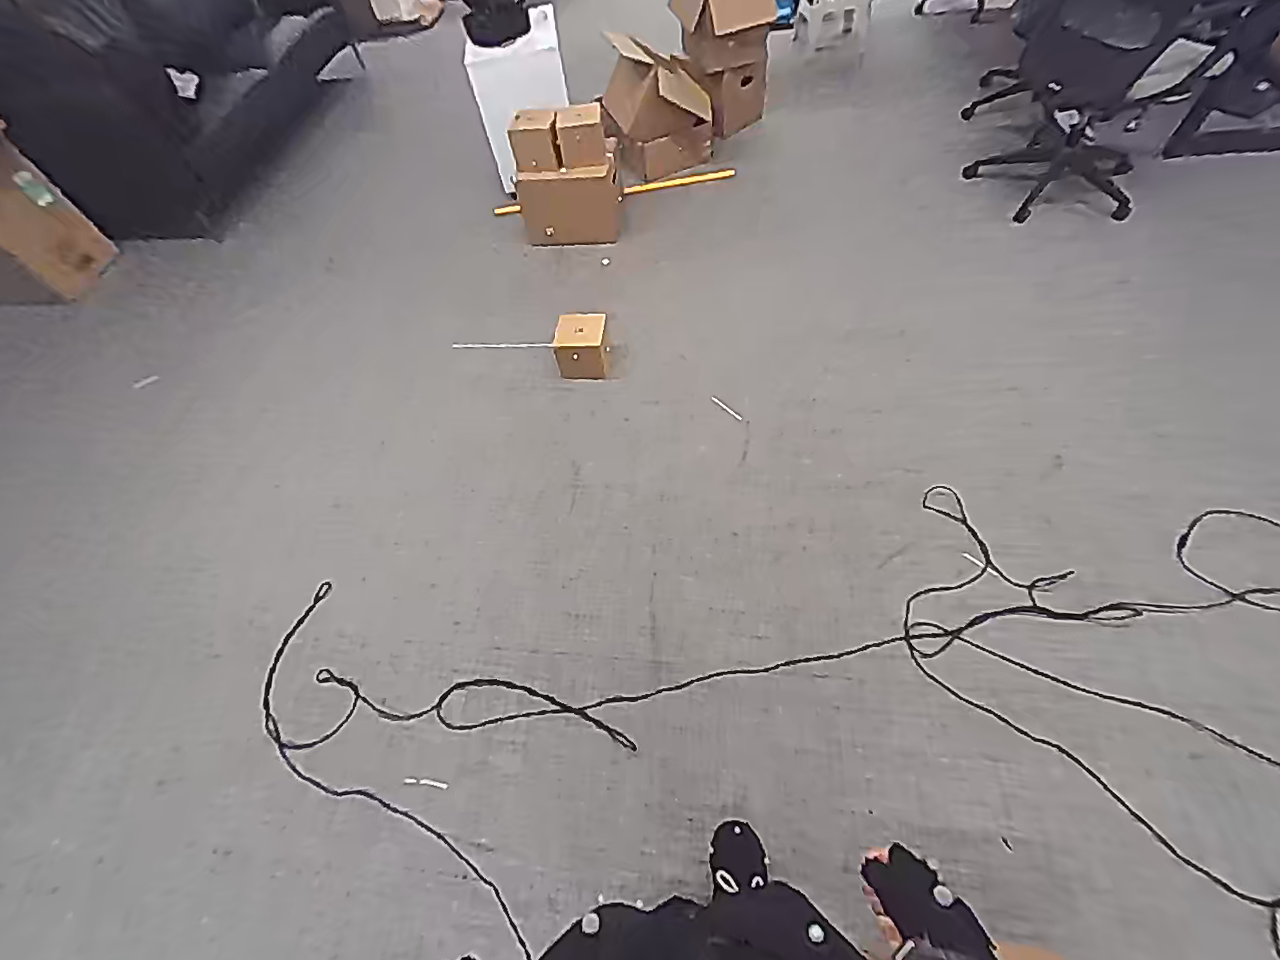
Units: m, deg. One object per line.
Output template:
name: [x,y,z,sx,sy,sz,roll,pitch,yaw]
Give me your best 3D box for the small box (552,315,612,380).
small box: [-0.203,-0.480,1.970,0.179,0.176,0.168,0,58,8]
